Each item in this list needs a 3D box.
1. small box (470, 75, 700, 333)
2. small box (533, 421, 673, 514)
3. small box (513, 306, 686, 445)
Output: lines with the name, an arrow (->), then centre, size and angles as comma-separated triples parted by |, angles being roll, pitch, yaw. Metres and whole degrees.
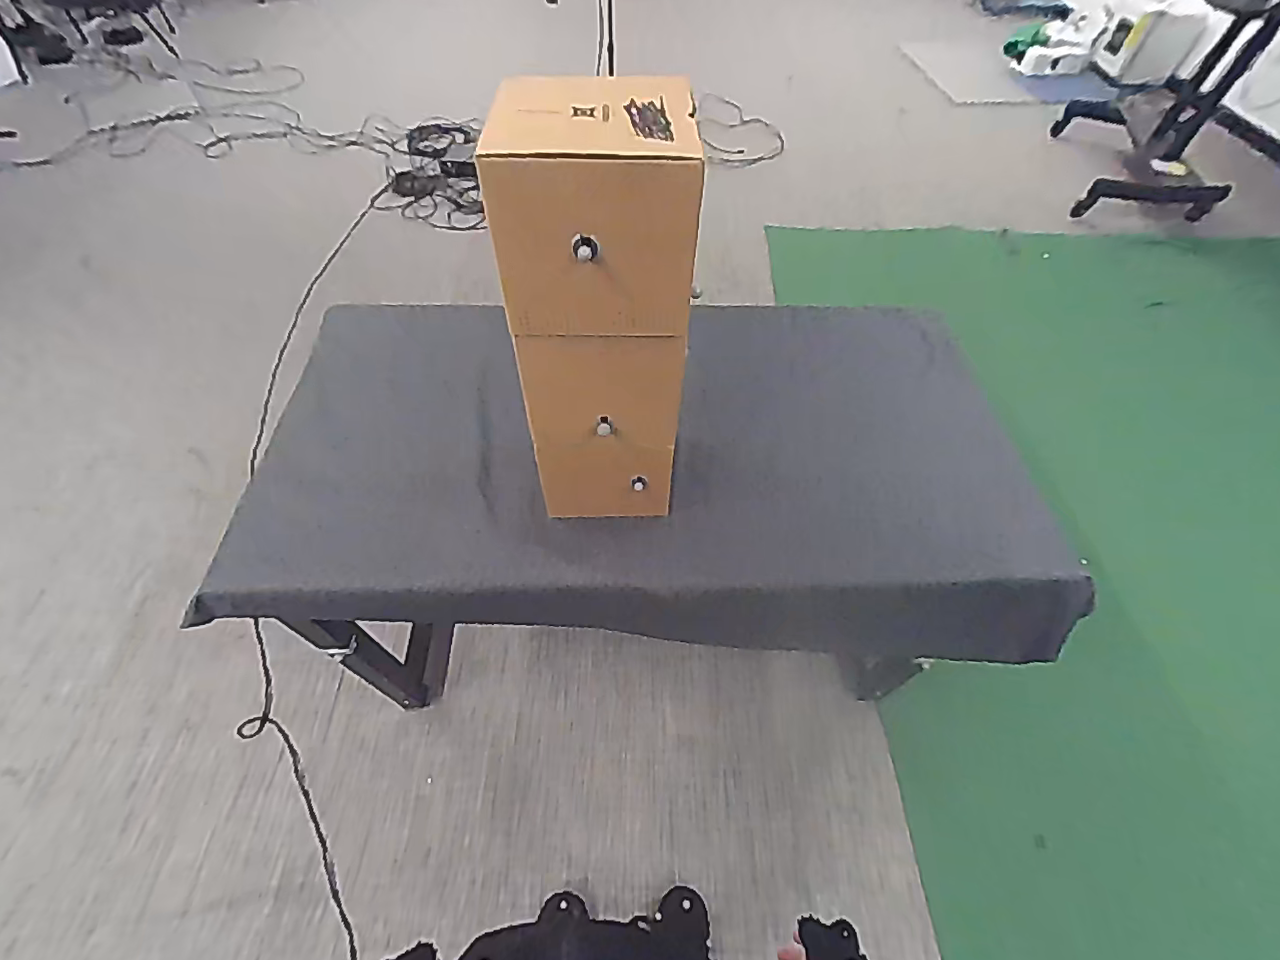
small box -> -0.043, -0.256, 0.517 | 0.179, 0.176, 0.168 | 0, 54, -1
small box -> -0.050, -0.062, 0.782 | 0.179, 0.176, 0.168 | -2, 53, -1
small box -> -0.047, -0.157, 0.652 | 0.179, 0.176, 0.168 | -3, 55, -3
